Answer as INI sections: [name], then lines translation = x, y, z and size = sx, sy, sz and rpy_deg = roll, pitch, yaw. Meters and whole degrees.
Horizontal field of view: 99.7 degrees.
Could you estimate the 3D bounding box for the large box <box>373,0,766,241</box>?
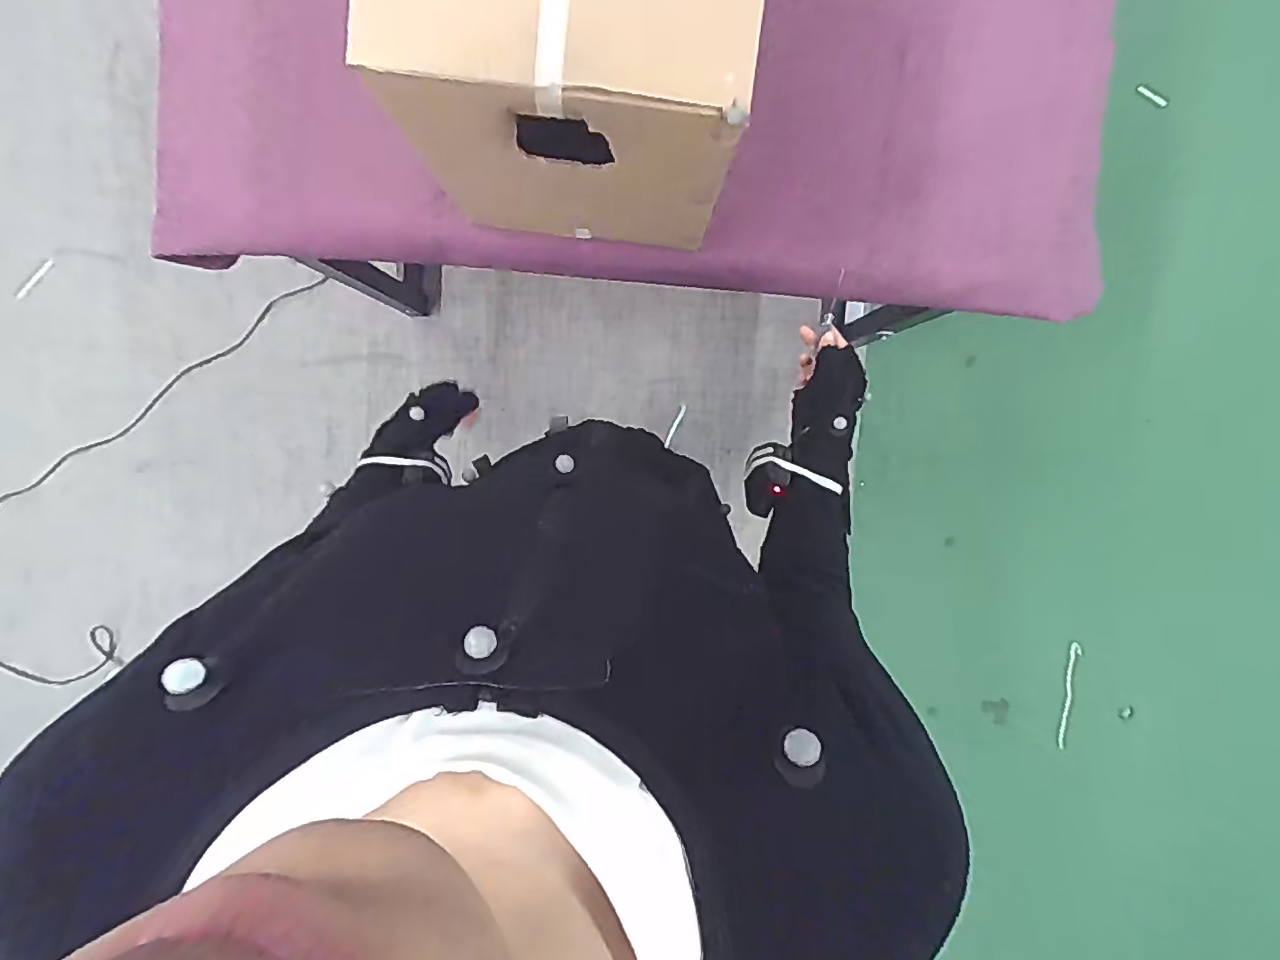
[large box]
translation = -0.044, -0.520, 0.561
size = 0.320, 0.320, 0.408
rpy_deg = 7, 96, -1
